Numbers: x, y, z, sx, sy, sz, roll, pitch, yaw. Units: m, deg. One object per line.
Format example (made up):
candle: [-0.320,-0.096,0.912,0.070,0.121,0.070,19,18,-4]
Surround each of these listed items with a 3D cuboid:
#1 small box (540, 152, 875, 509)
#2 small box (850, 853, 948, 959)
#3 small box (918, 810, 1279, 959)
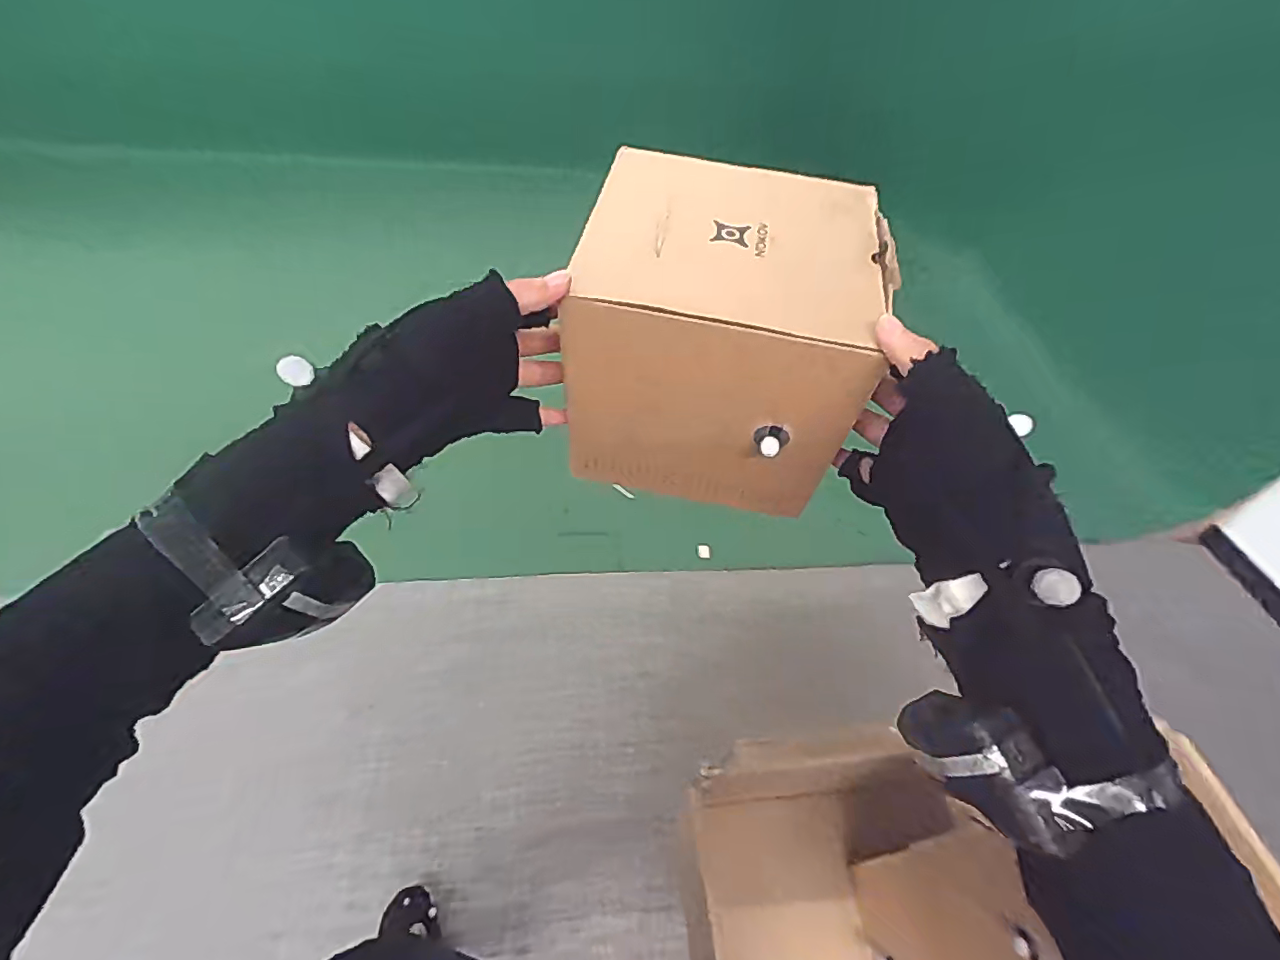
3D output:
small box: [0.043,-0.097,0.385,0.179,0.176,0.168,9,55,4]
small box: [0.344,0.483,0.548,0.168,0.176,0.179,-1,50,-9]
small box: [0.356,0.377,0.423,0.168,0.176,0.179,1,50,-7]
